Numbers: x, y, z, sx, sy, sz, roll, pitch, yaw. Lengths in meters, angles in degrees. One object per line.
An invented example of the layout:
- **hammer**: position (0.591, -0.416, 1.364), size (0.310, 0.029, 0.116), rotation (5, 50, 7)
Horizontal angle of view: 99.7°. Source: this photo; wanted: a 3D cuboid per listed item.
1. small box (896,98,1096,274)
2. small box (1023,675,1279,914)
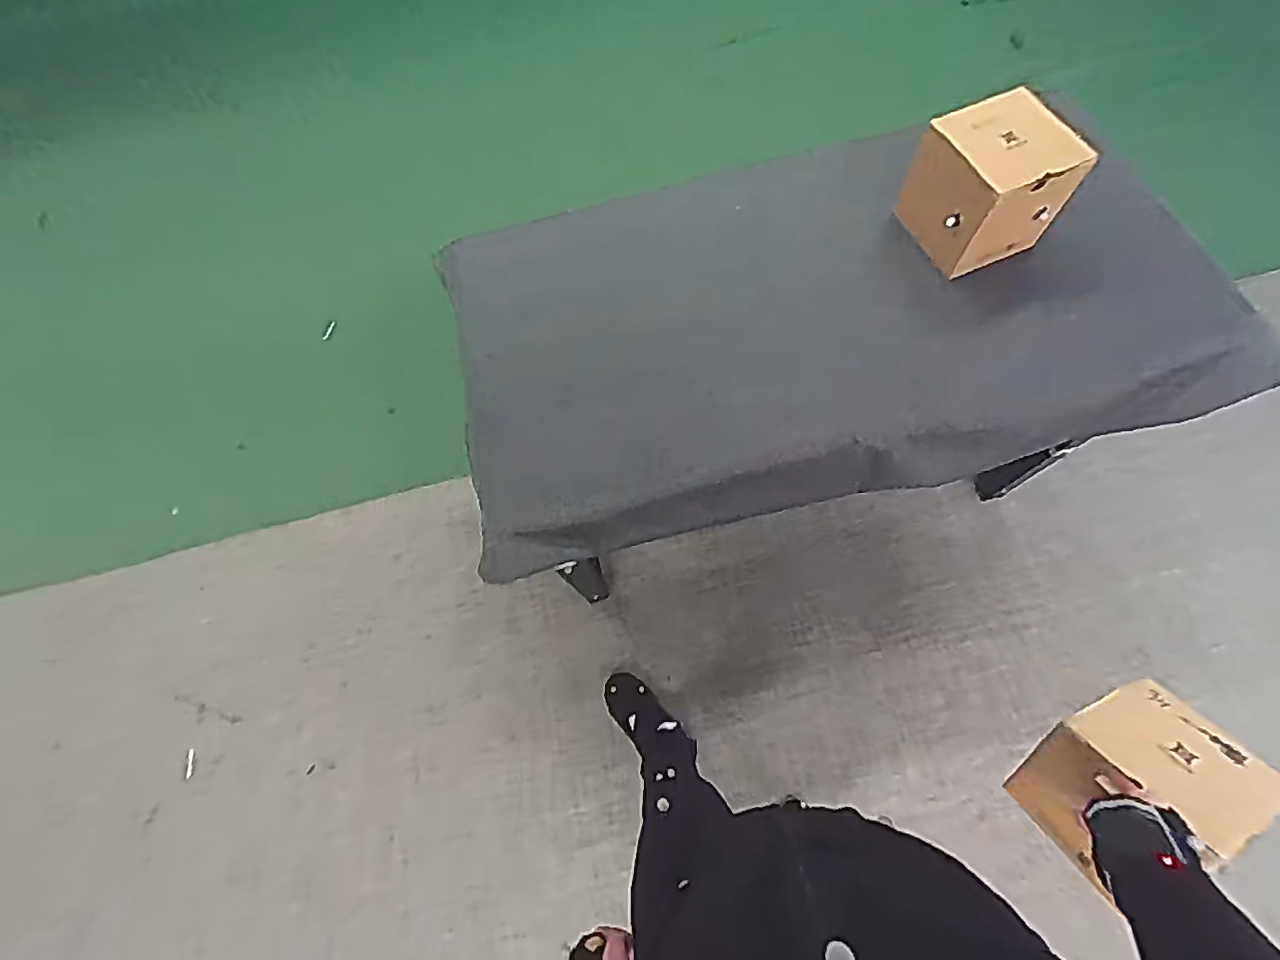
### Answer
- **small box**: position (0.554, -0.460, 0.871), size (0.168, 0.176, 0.179), rotation (-22, 66, -5)
- **small box**: position (0.612, 0.376, 0.655), size (0.179, 0.176, 0.168), rotation (-11, 37, -19)
